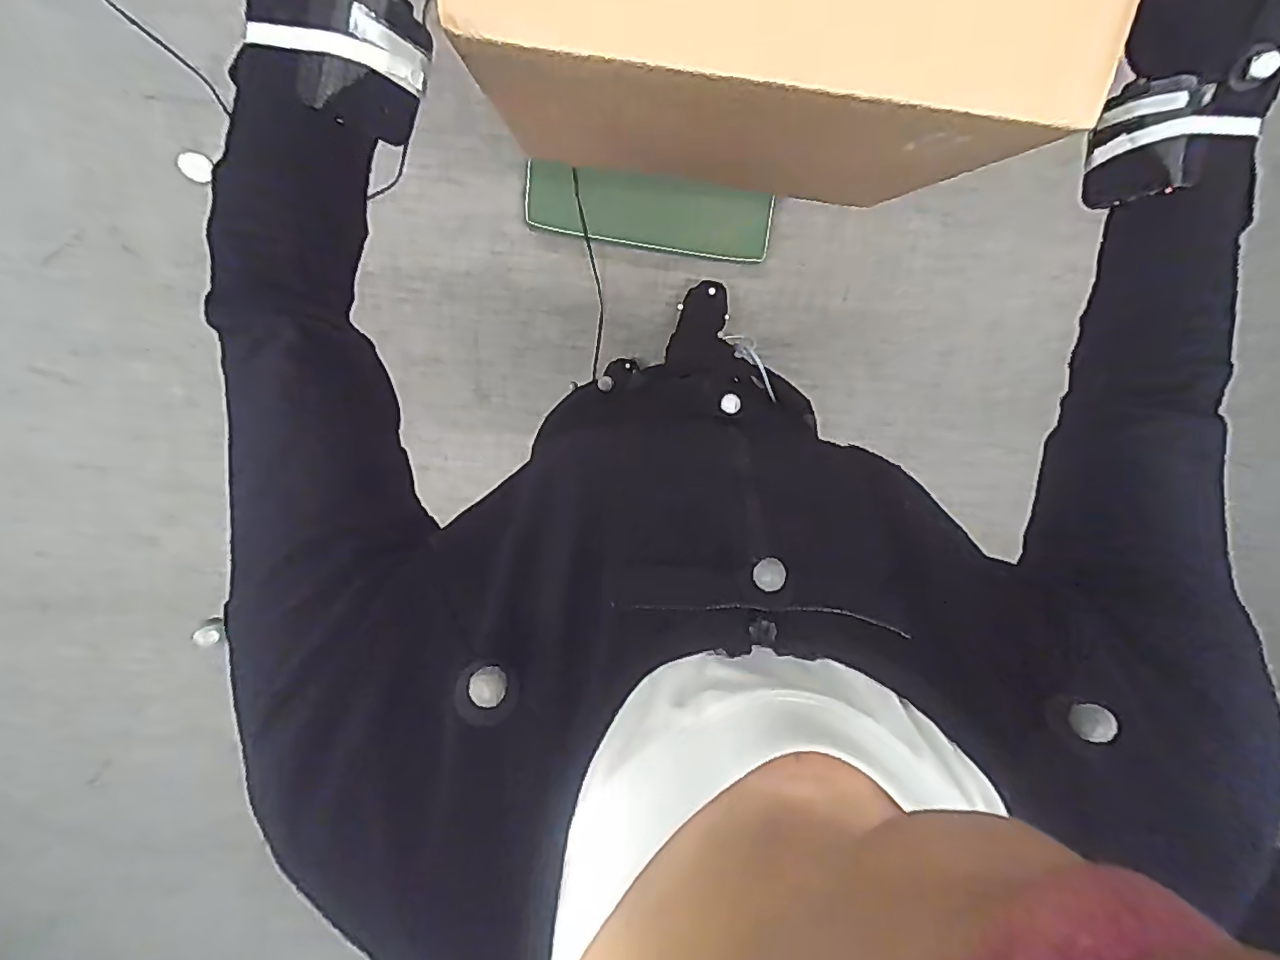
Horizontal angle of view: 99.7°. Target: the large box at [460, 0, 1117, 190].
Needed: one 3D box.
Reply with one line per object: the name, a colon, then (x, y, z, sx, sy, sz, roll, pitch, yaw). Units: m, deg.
large box: (0.093, -0.445, 0.424, 0.408, 0.320, 0.320, 5, 109, -6)
